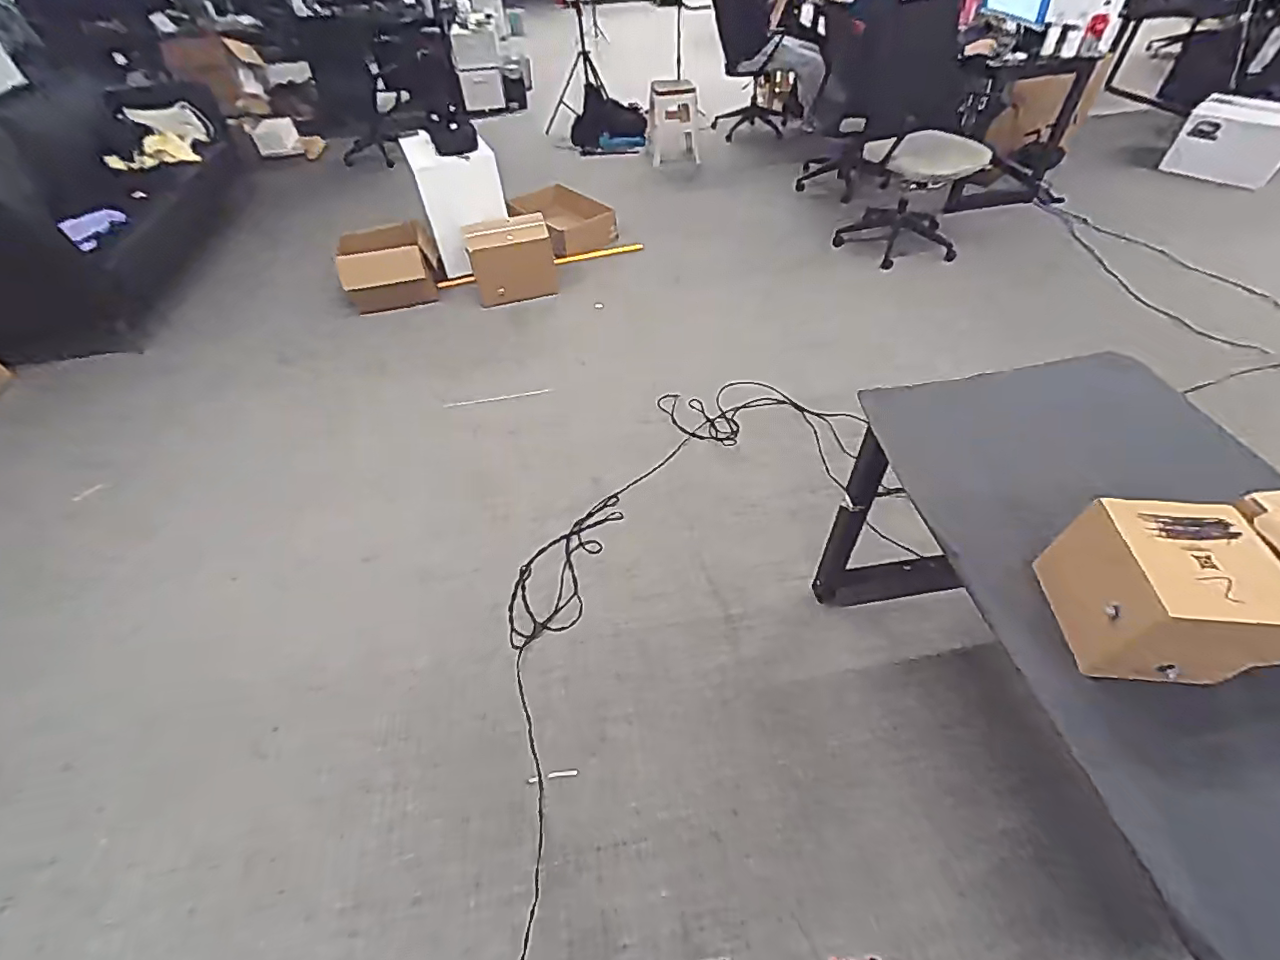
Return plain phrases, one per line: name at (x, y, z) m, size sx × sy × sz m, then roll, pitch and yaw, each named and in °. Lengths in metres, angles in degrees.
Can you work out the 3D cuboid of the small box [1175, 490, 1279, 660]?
small box at (0.881, 0.125, 0.716) m, size 0.179 × 0.176 × 0.168 m, roll -4°, pitch 48°, yaw -2°
